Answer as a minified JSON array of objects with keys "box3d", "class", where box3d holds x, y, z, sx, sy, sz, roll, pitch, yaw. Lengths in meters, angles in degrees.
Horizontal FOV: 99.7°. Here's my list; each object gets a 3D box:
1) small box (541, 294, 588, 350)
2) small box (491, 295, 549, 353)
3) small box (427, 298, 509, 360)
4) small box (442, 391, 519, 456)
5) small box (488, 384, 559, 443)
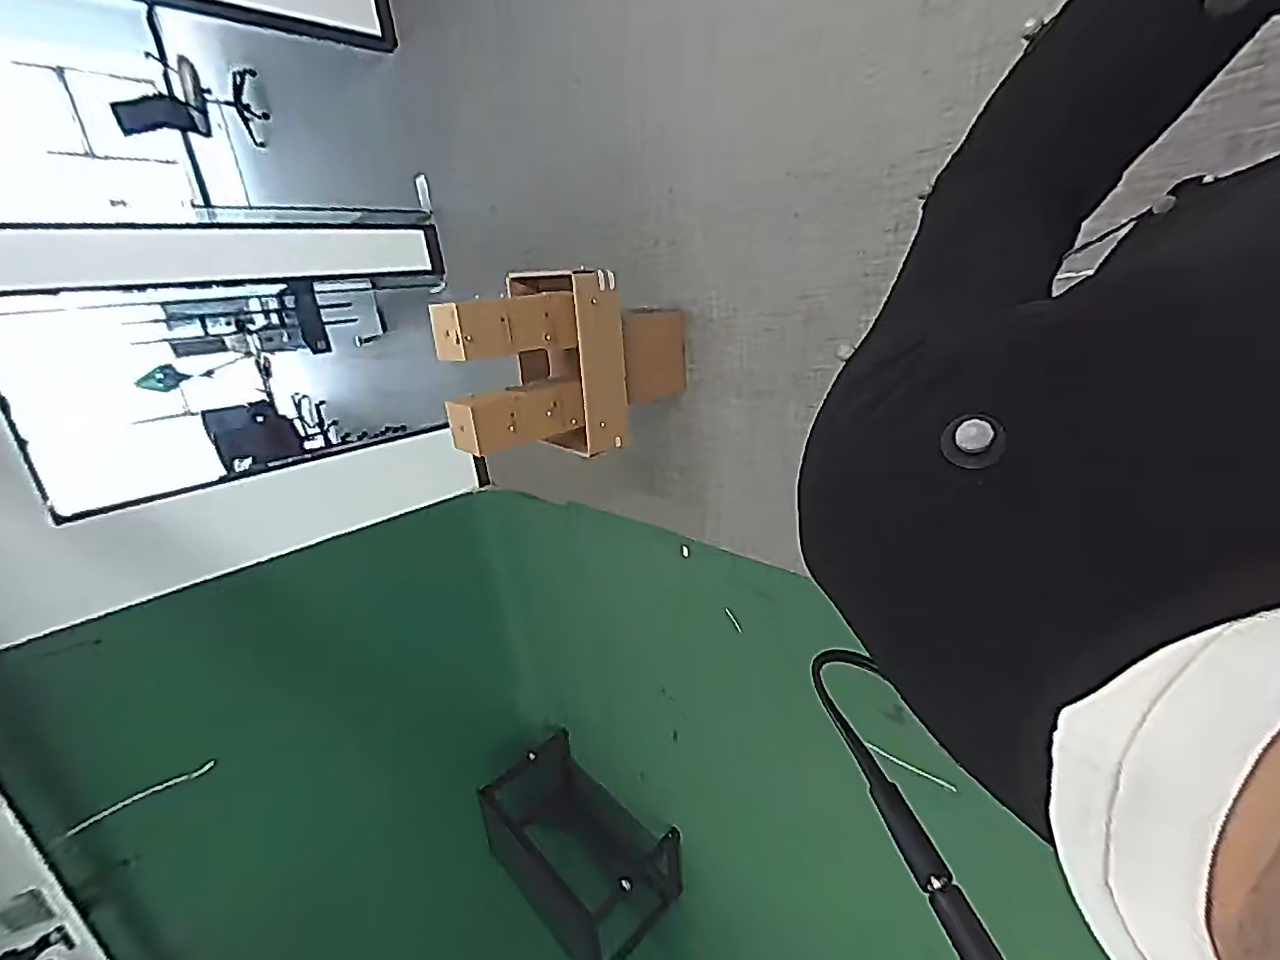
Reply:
[{"box3d":[-0.298,-0.551,1.873,0.179,0.176,0.168,20,120,41],"class":"small box"},{"box3d":[-0.411,-0.511,1.760,0.179,0.176,0.168,15,116,44],"class":"small box"},{"box3d":[-0.523,-0.463,1.650,0.179,0.176,0.168,15,117,43],"class":"small box"},{"box3d":[-0.517,-0.190,1.761,0.179,0.176,0.168,16,119,43],"class":"small box"},{"box3d":[-0.402,-0.236,1.867,0.179,0.176,0.168,15,118,43],"class":"small box"}]
